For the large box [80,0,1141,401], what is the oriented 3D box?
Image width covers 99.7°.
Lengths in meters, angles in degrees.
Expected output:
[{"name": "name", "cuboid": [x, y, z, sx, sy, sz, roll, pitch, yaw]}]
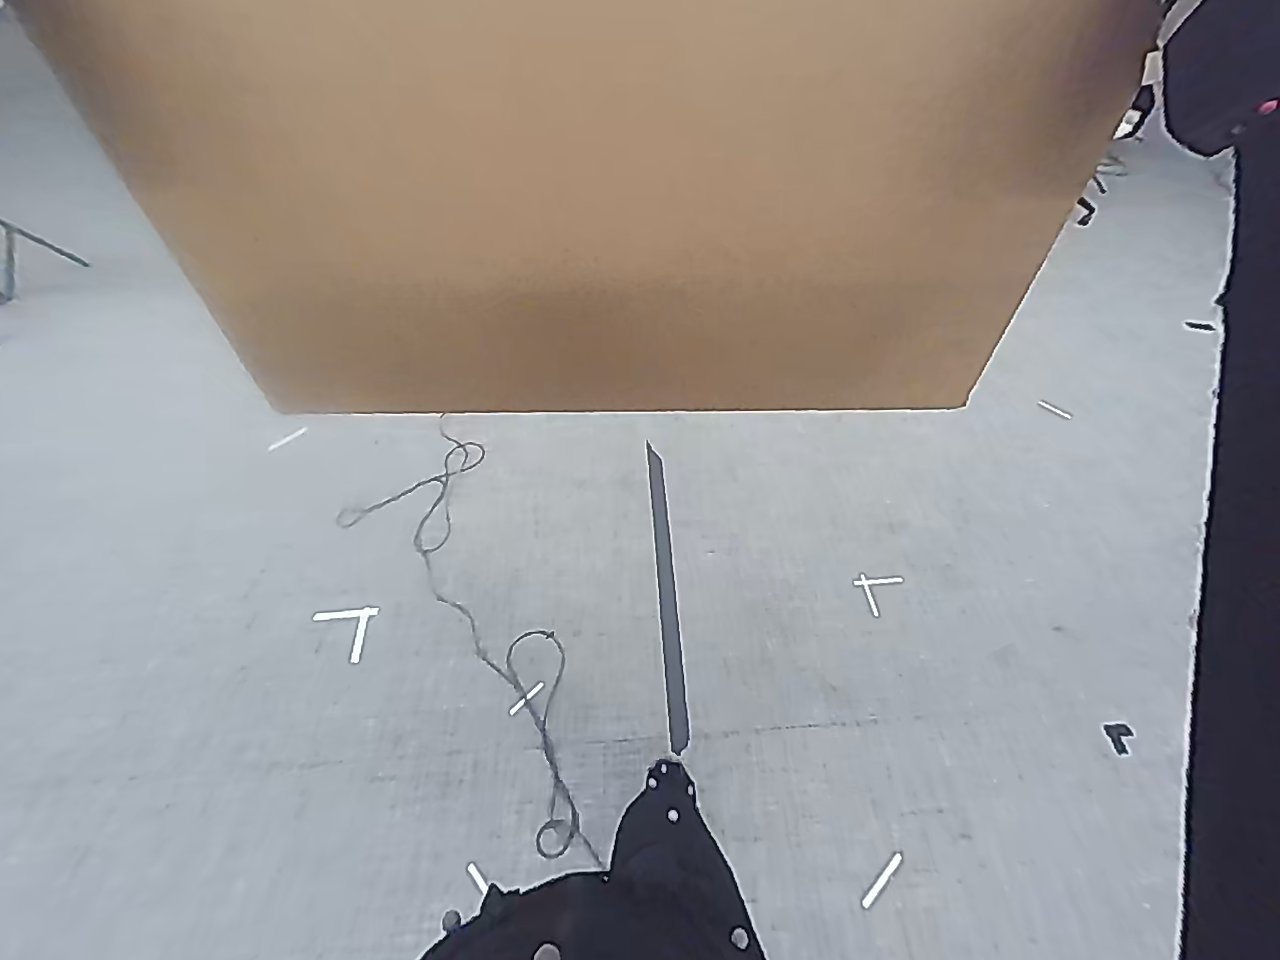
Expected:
[{"name": "large box", "cuboid": [-0.012, -0.259, 0.325, 0.408, 0.320, 0.320, 0, 47, -1]}]
